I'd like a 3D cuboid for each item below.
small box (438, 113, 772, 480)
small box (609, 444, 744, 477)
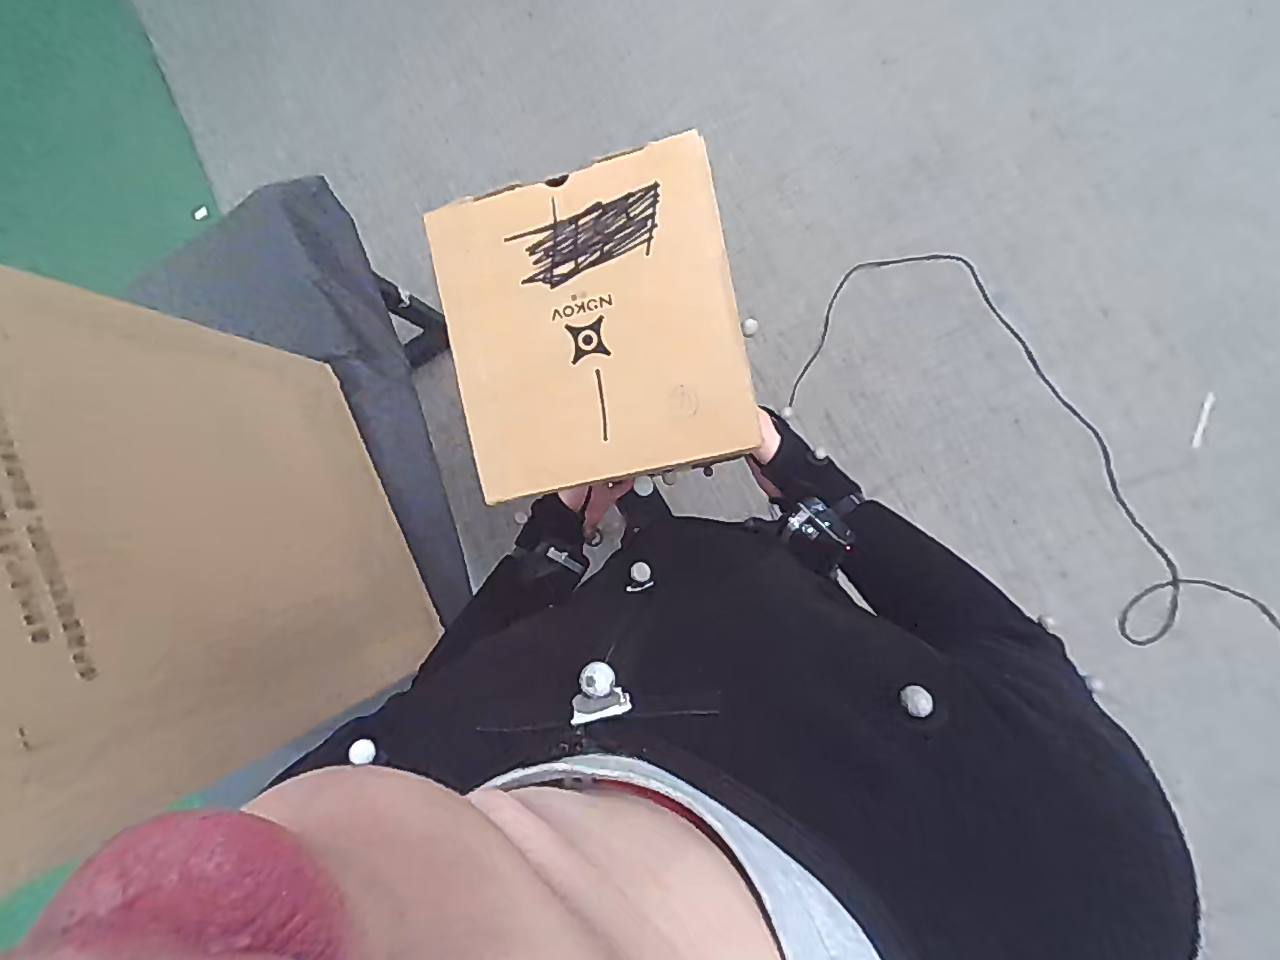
[{"bbox_3d":[-0.011,-0.100,0.379,0.168,0.176,0.179,-12,90,10],"label":"small box"},{"bbox_3d":[0.041,-0.103,0.705,0.168,0.176,0.179,-11,88,10],"label":"small box"}]
